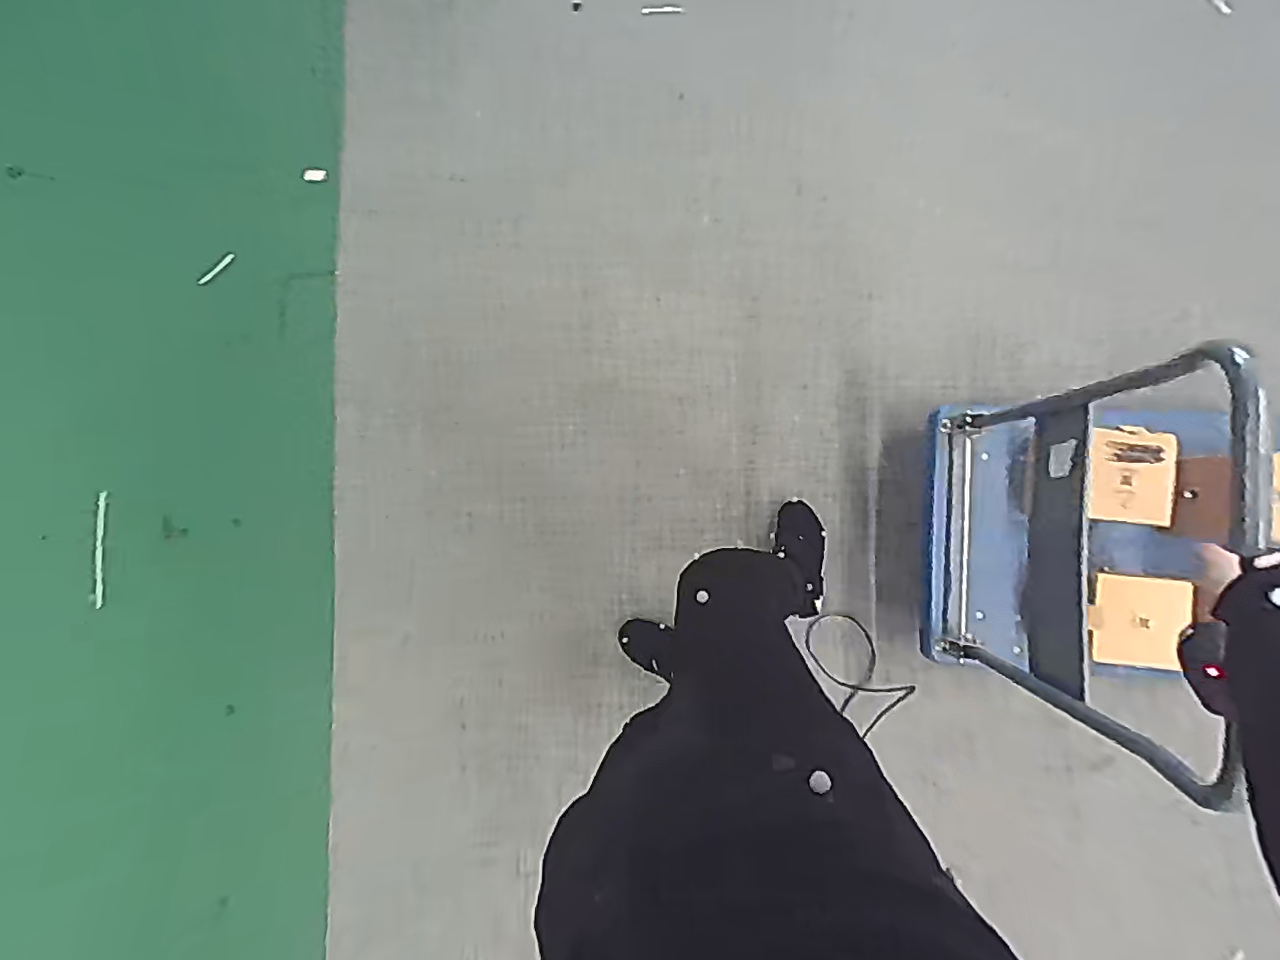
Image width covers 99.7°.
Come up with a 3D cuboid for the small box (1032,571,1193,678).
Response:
[{"bbox_3d":[0.935,0.279,1.082,0.179,0.176,0.168,5,88,5],"label":"small box"}]

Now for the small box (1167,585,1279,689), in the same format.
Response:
[{"bbox_3d":[1.181,0.303,1.064,0.179,0.176,0.168,2,87,4],"label":"small box"}]

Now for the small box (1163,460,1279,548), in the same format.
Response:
[{"bbox_3d":[1.197,0.049,1.074,0.179,0.176,0.168,0,88,4],"label":"small box"}]
